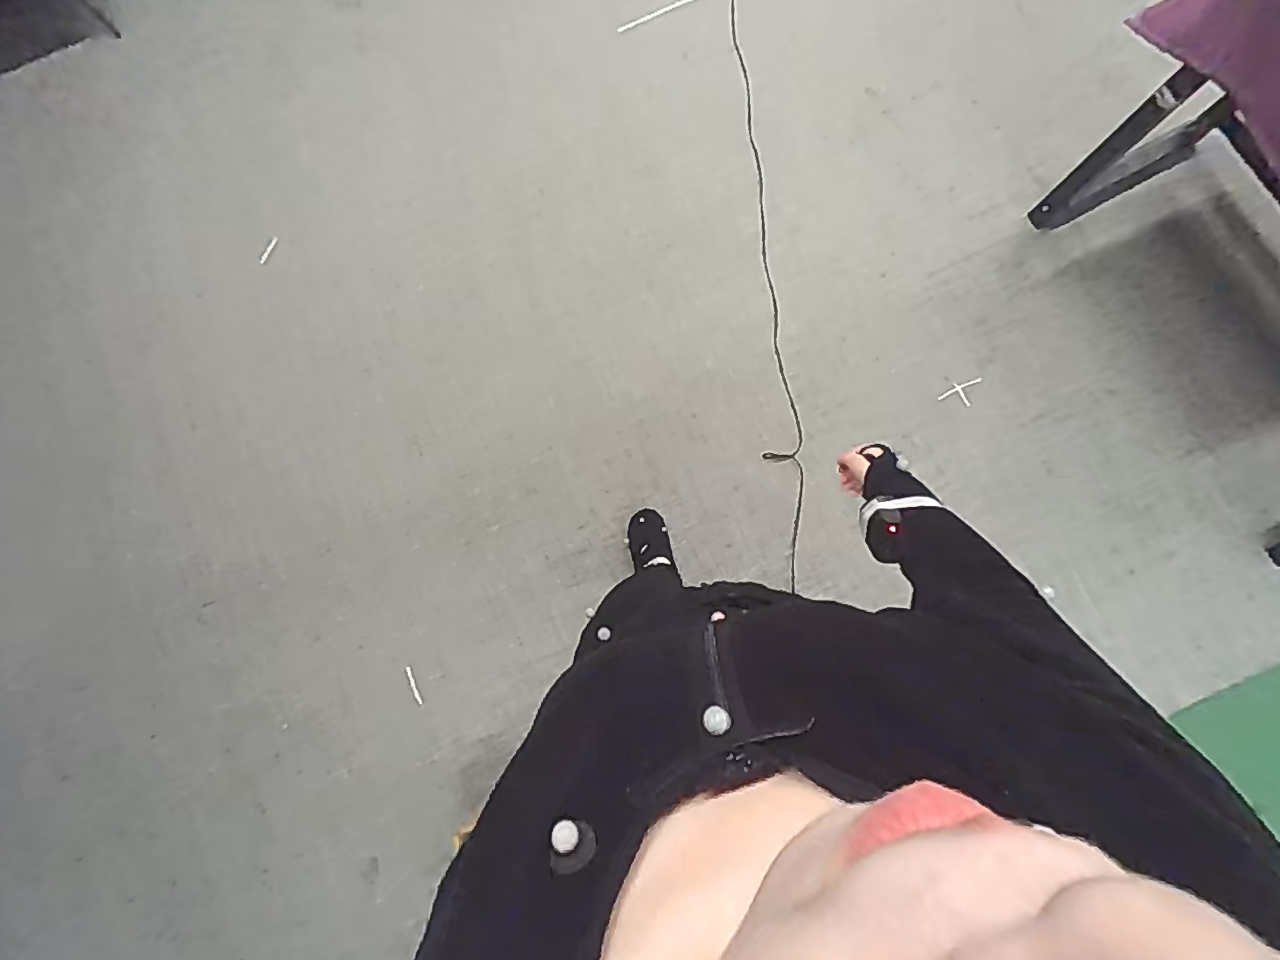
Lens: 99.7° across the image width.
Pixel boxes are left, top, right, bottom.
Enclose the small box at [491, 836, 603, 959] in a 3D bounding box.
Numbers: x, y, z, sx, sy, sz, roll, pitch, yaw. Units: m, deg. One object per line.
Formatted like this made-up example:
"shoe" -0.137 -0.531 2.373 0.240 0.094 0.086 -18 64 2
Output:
"small box" -0.182 0.881 1.119 0.179 0.176 0.168 -19 81 0
